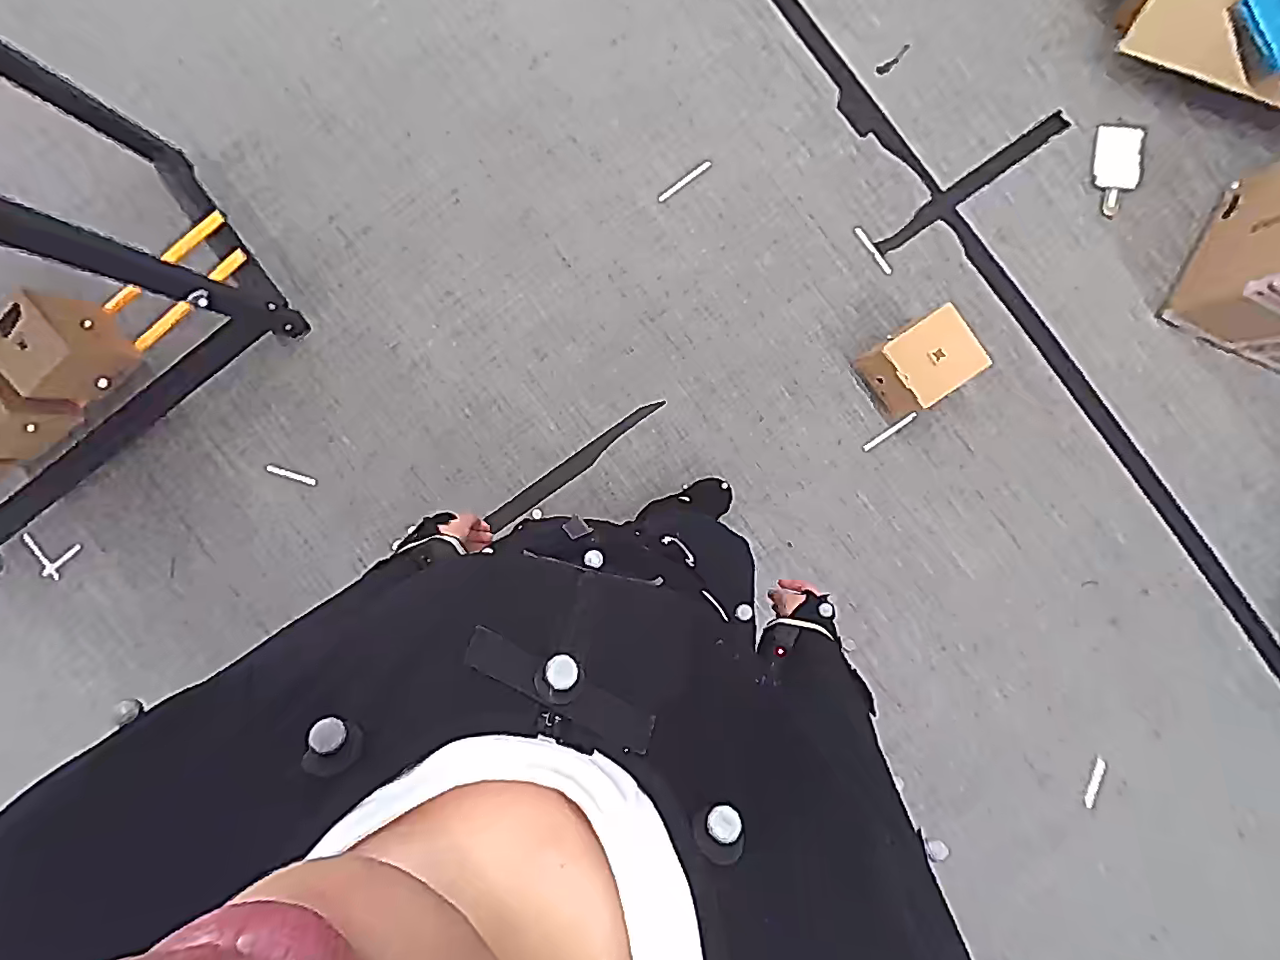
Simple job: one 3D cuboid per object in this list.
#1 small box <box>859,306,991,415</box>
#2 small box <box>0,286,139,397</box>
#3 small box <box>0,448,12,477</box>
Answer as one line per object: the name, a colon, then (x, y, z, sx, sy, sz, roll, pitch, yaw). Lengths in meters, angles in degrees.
small box: (0.644, -0.267, 1.245, 0.179, 0.176, 0.168, -35, 91, 5)
small box: (-1.331, -0.305, 1.238, 0.168, 0.176, 0.179, -38, 93, 5)
small box: (-1.674, -0.055, 1.267, 0.168, 0.176, 0.179, -36, 93, 3)
